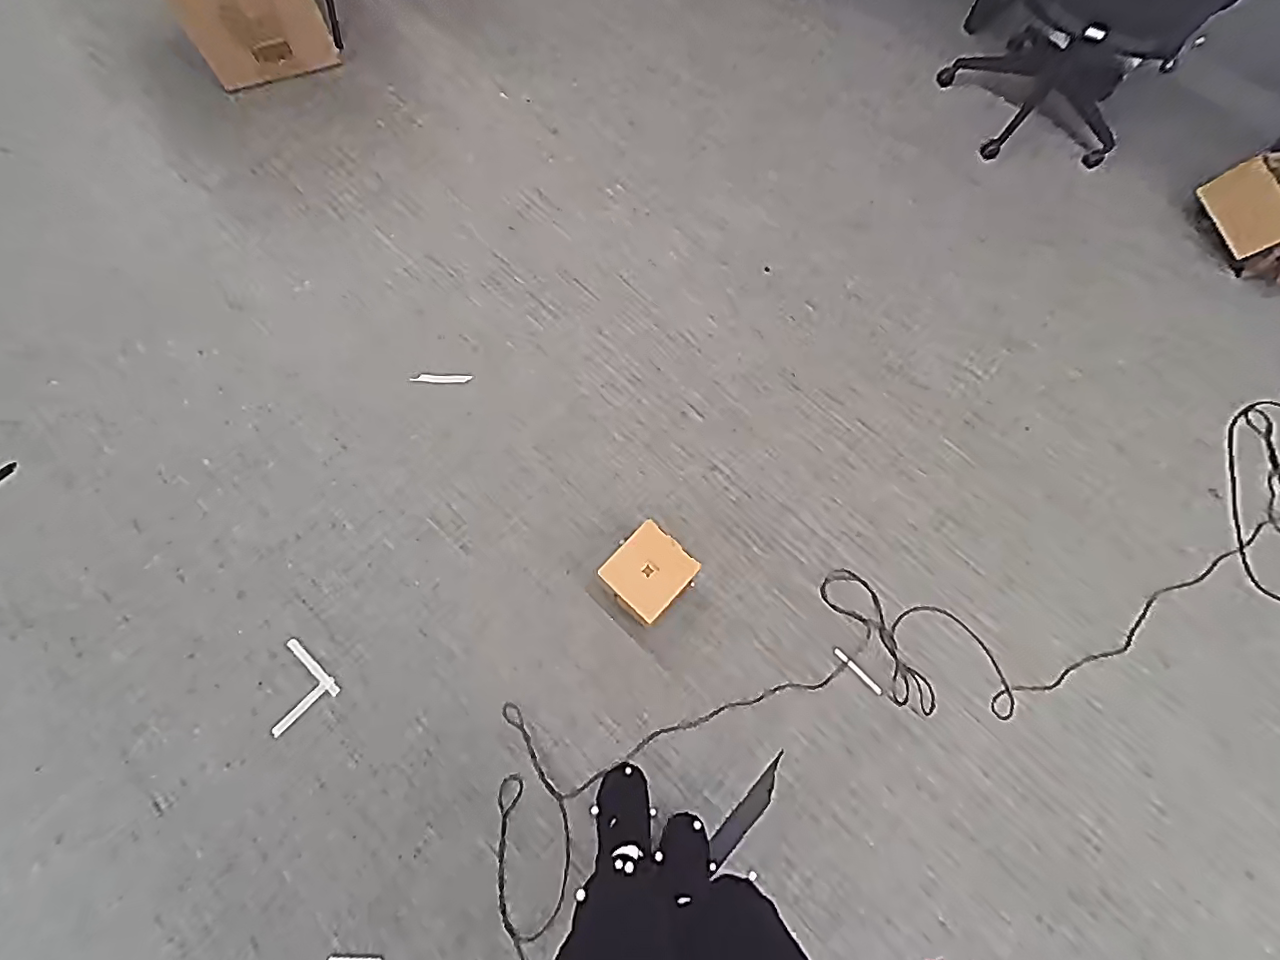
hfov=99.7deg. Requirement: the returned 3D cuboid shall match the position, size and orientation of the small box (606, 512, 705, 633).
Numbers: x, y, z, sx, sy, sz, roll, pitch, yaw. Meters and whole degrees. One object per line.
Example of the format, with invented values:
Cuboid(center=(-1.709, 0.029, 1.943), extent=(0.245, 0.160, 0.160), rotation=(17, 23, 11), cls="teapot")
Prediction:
Cuboid(center=(0.036, 0.206, 1.235), extent=(0.179, 0.176, 0.168), rotation=(29, 52, 27), cls="small box")
